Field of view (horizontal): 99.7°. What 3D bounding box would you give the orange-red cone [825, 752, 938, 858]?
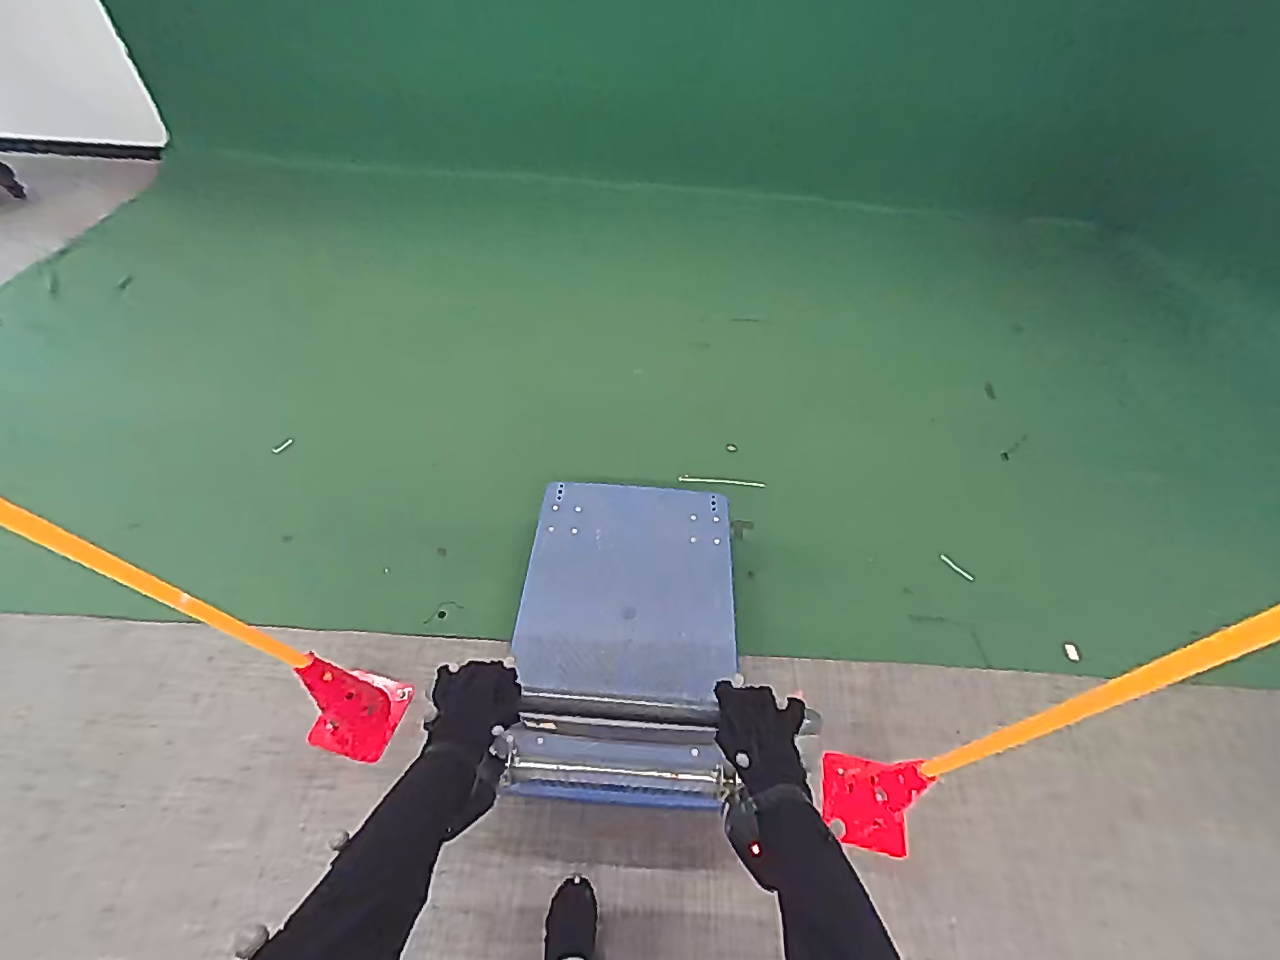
[{"bbox_3d":[0.562,0.681,1.194,0.198,0.360,0.199,12,51,7],"label":"orange-red cone"}]
